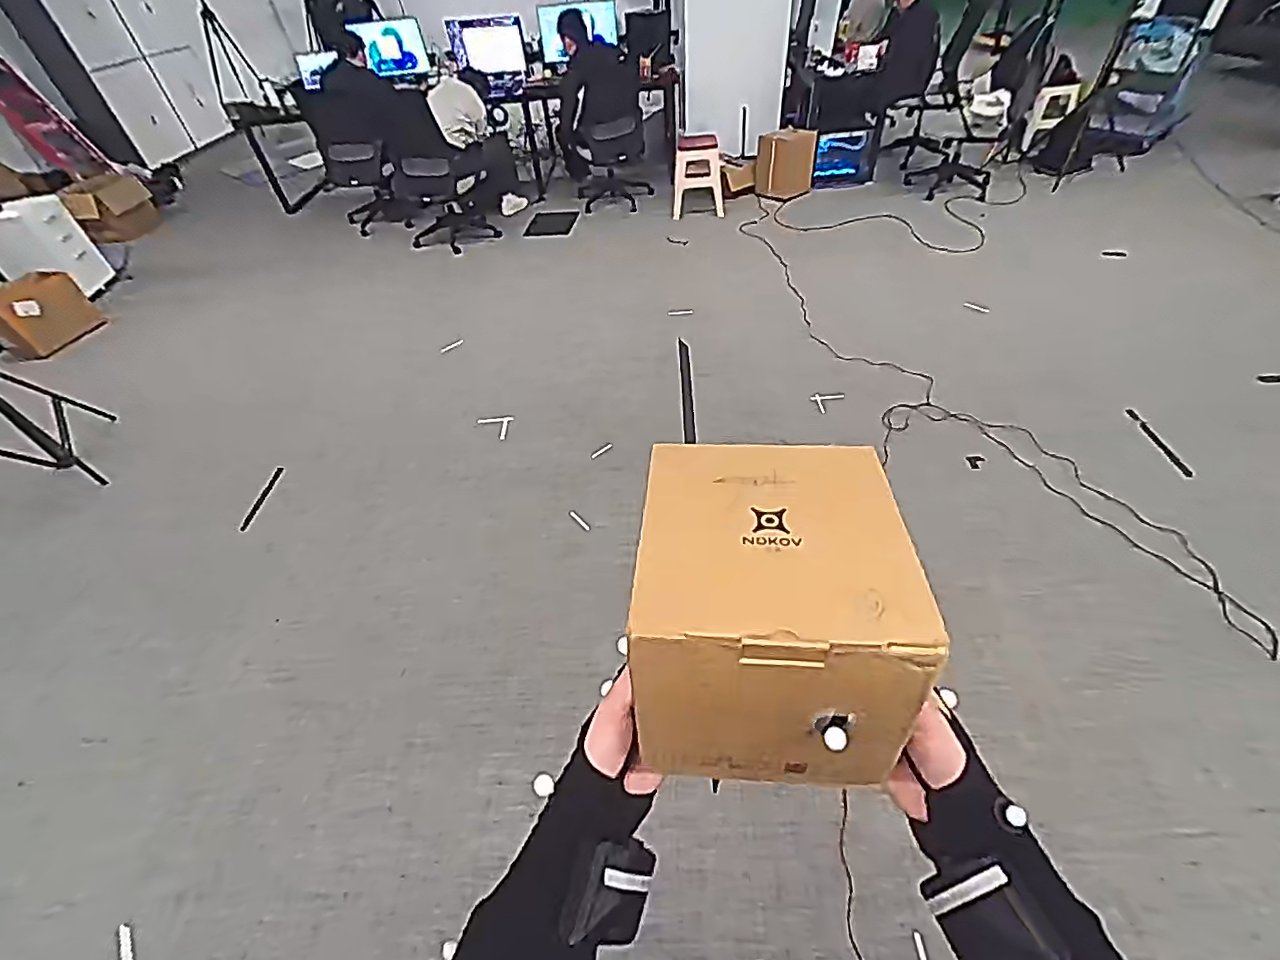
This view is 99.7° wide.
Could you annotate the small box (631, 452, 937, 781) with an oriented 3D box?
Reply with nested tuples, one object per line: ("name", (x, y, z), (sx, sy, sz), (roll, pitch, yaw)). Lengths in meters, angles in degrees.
("small box", (0.088, 0.098, 0.403), (0.168, 0.176, 0.179), (2, 38, 6))
